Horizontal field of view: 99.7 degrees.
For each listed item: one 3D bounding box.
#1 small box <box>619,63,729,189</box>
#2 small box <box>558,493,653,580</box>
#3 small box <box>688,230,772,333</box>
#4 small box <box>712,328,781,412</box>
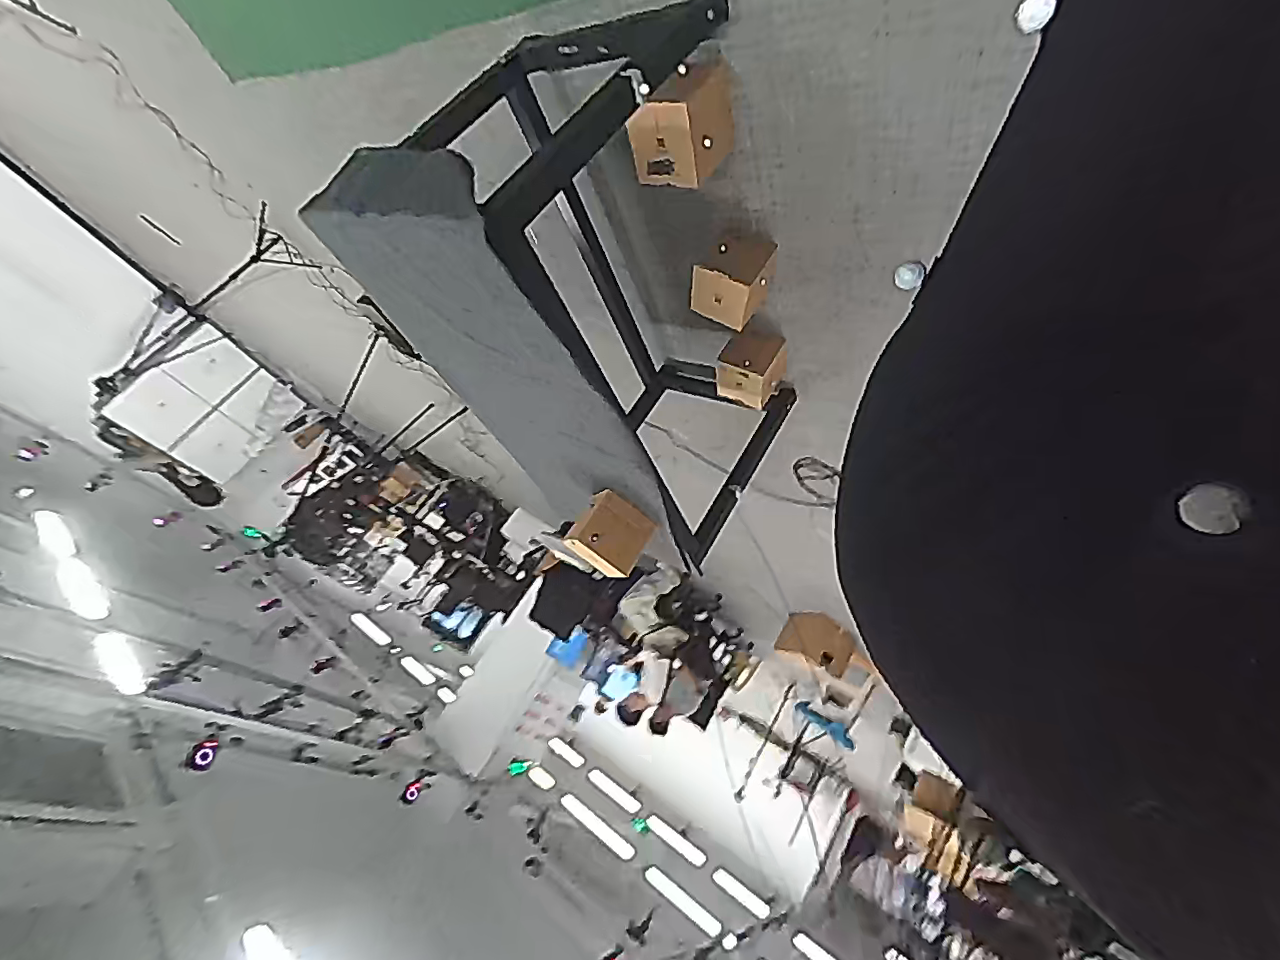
[{"bbox_3d":[0.085,-0.783,1.199,0.168,0.176,0.179,22,156,28],"label":"small box"},{"bbox_3d":[-0.093,0.157,1.489,0.179,0.176,0.168,38,160,-11],"label":"small box"},{"bbox_3d":[0.246,-0.548,1.488,0.168,0.176,0.179,29,161,15],"label":"small box"},{"bbox_3d":[0.348,-0.359,1.761,0.168,0.176,0.179,25,159,22],"label":"small box"}]
